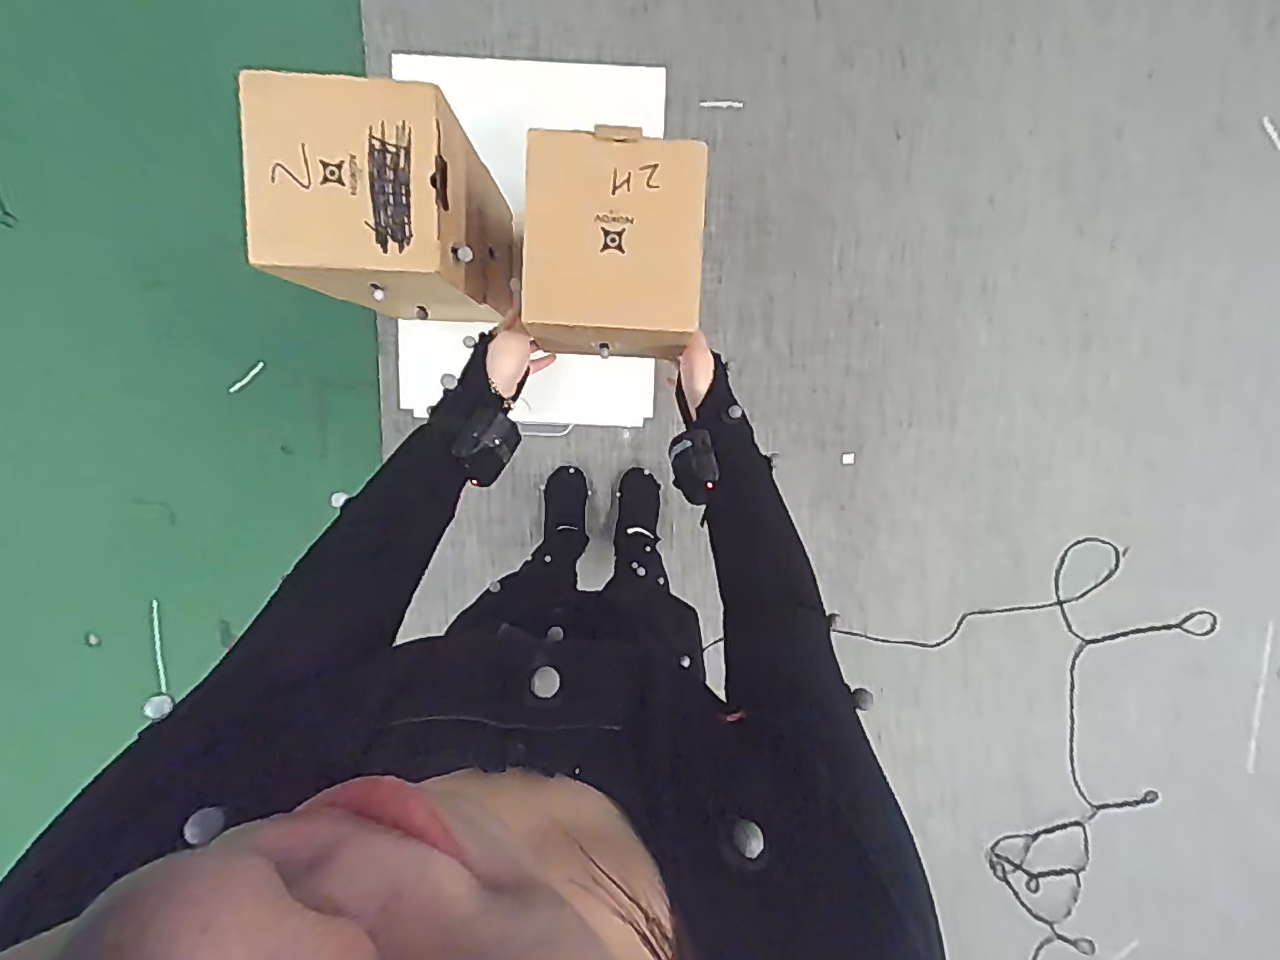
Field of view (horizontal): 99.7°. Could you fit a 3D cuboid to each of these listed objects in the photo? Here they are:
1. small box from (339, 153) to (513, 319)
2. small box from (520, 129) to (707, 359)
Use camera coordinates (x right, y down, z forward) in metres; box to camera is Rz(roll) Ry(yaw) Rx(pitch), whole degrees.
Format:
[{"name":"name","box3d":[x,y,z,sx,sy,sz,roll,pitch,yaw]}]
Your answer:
[{"name":"small box","box3d":[-0.277,-0.315,0.733,0.179,0.176,0.168,1,98,-3]},{"name":"small box","box3d":[-0.029,-0.230,0.576,0.168,0.176,0.179,3,93,-4]}]
